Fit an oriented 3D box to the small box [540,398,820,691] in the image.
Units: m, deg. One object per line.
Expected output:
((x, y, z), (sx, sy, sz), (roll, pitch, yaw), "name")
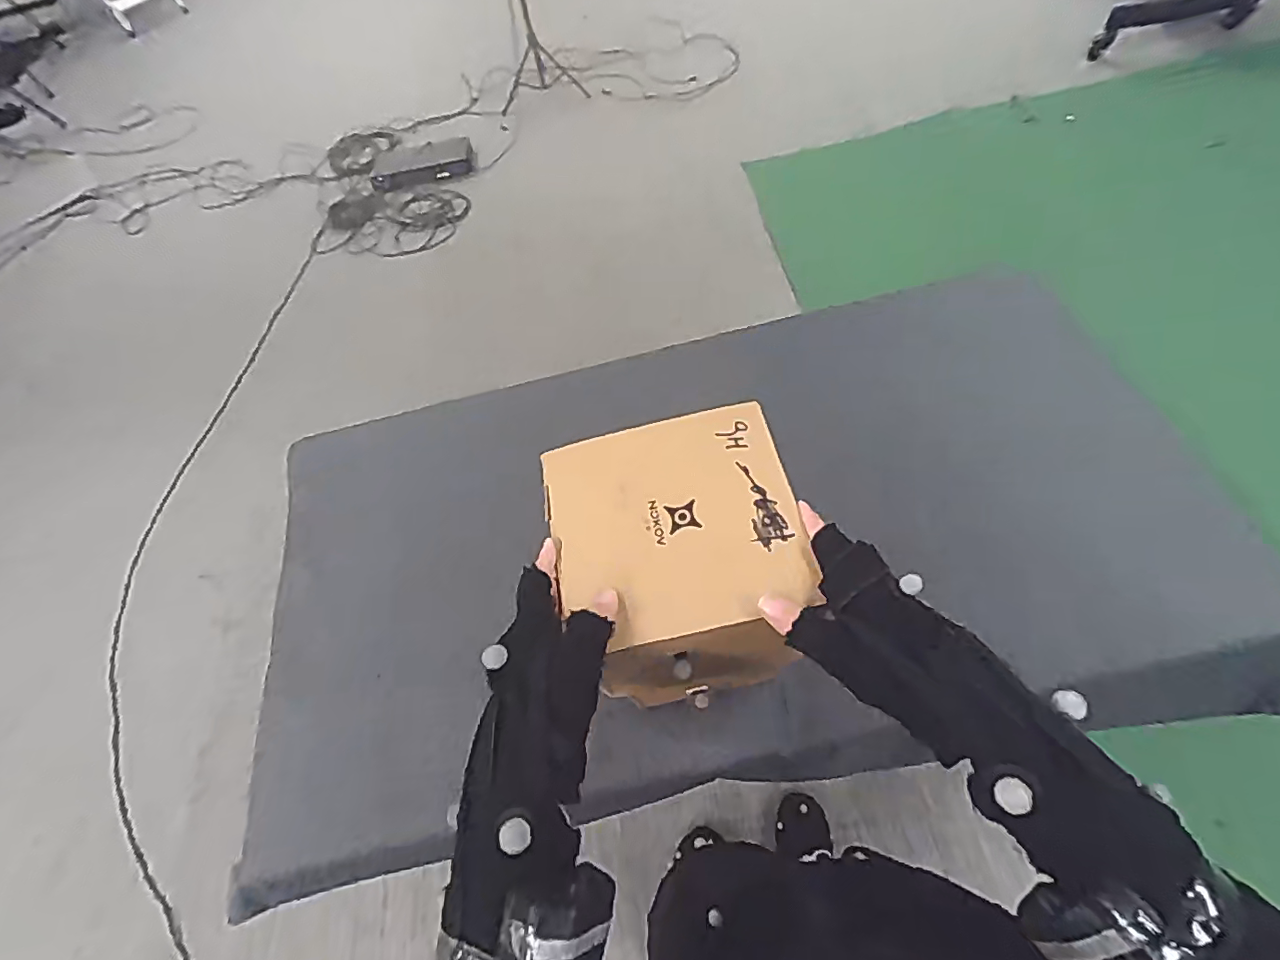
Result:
((0.031, 0.064, 0.458), (0.179, 0.176, 0.168), (-15, 56, 0), "small box")

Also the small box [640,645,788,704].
((0.053, 0.132, 0.604), (0.168, 0.176, 0.179), (-16, 60, 1), "small box")
